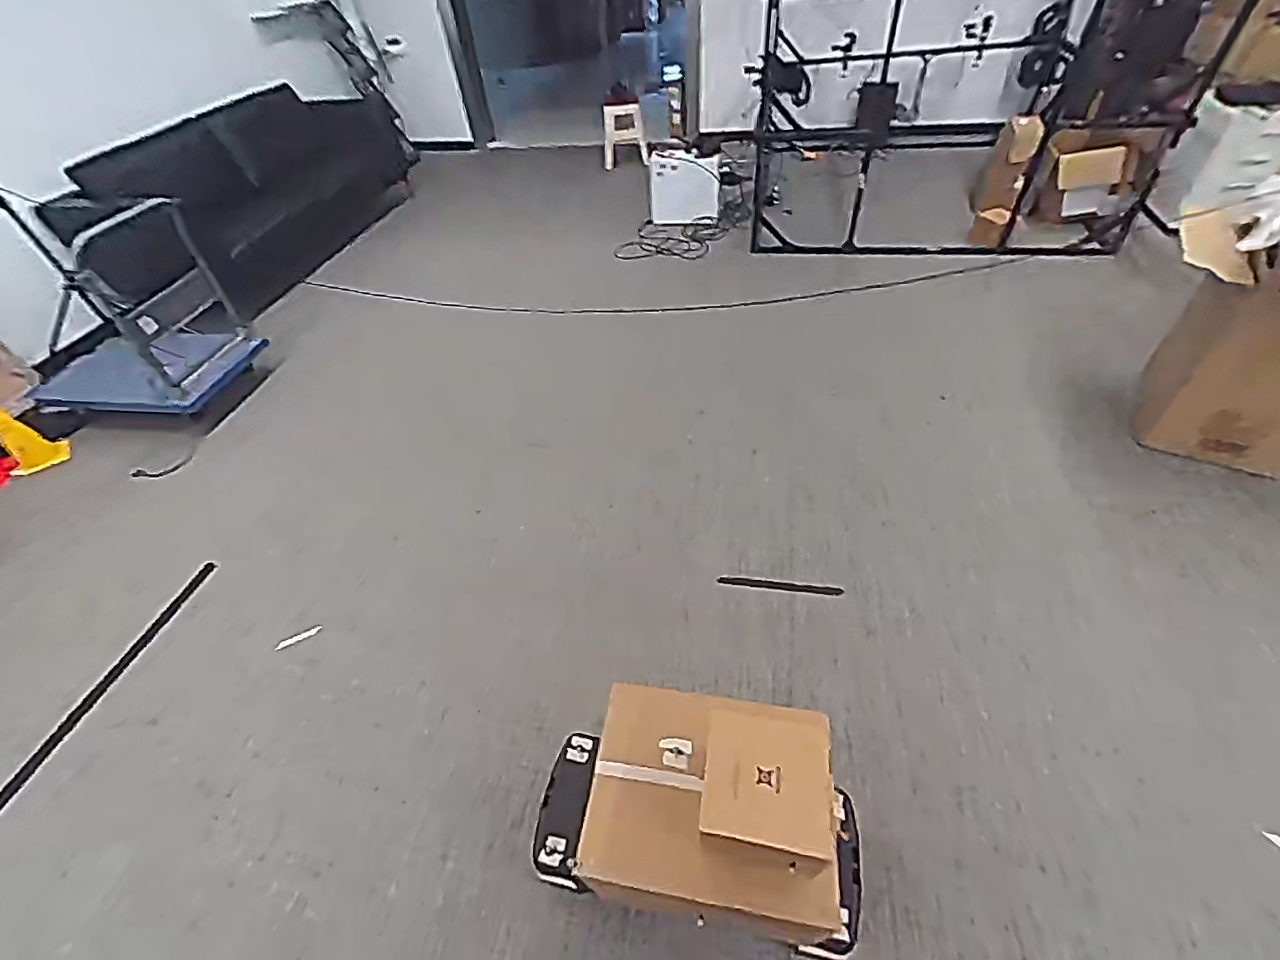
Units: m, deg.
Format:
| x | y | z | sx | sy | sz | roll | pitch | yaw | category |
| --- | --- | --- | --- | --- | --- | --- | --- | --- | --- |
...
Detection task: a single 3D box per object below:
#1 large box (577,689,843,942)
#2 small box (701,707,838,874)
| x | y | z | sx | sy | sz | roll | pitch | yaw | category |
| --- | --- | --- | --- | --- | --- | --- | --- | --- | --- |
| 0.136 | 0.623 | 1.010 | 0.408 | 0.320 | 0.320 | 4 | 46 | 11 | large box |
| 0.190 | 0.468 | 0.811 | 0.179 | 0.176 | 0.168 | 5 | 48 | 12 | small box |
